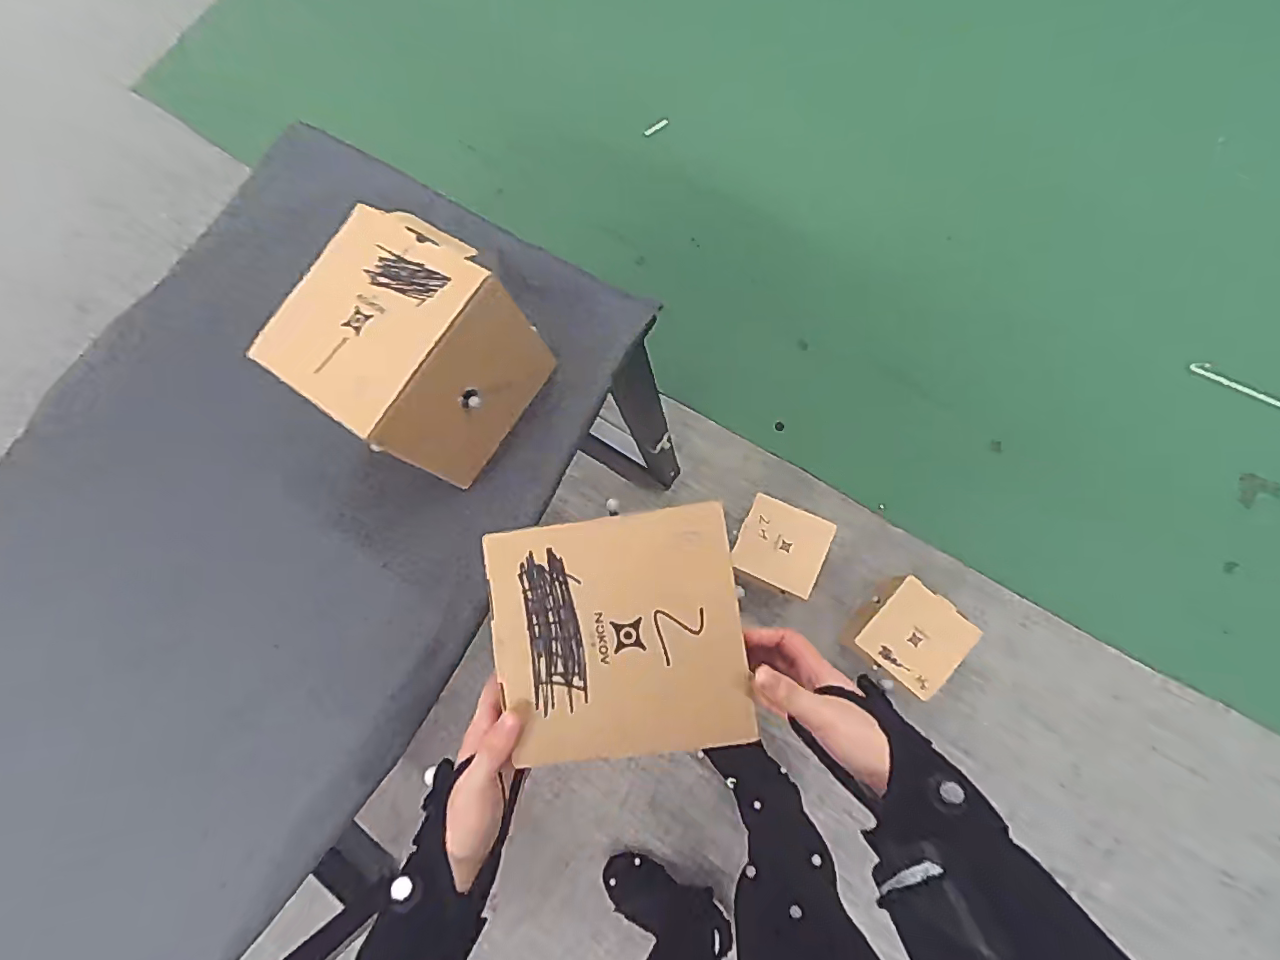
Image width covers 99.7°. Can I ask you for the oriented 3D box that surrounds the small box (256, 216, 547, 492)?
[{"bbox_3d":[-0.216,-0.114,0.542,0.168,0.176,0.179,32,84,18],"label":"small box"}]

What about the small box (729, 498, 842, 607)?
[{"bbox_3d":[0.304,0.159,1.163,0.179,0.176,0.168,24,81,13],"label":"small box"}]

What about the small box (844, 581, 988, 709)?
[{"bbox_3d":[0.541,0.323,1.089,0.168,0.176,0.179,41,85,14],"label":"small box"}]
